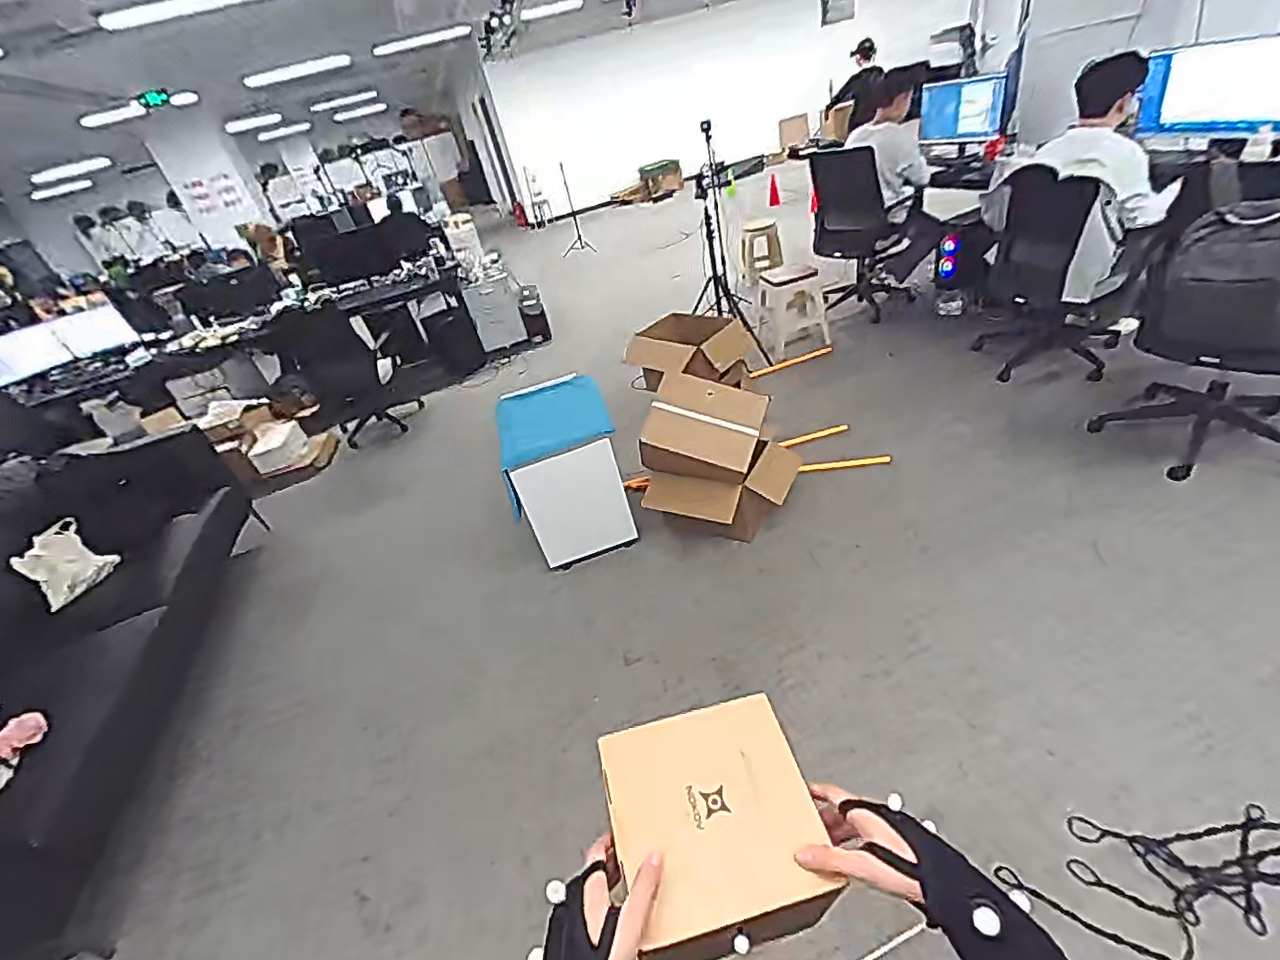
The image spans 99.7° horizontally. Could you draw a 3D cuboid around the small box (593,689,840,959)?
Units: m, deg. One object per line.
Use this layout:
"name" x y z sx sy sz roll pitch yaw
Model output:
"small box" 0.063 0.335 0.519 0.179 0.176 0.168 -12 43 -7
